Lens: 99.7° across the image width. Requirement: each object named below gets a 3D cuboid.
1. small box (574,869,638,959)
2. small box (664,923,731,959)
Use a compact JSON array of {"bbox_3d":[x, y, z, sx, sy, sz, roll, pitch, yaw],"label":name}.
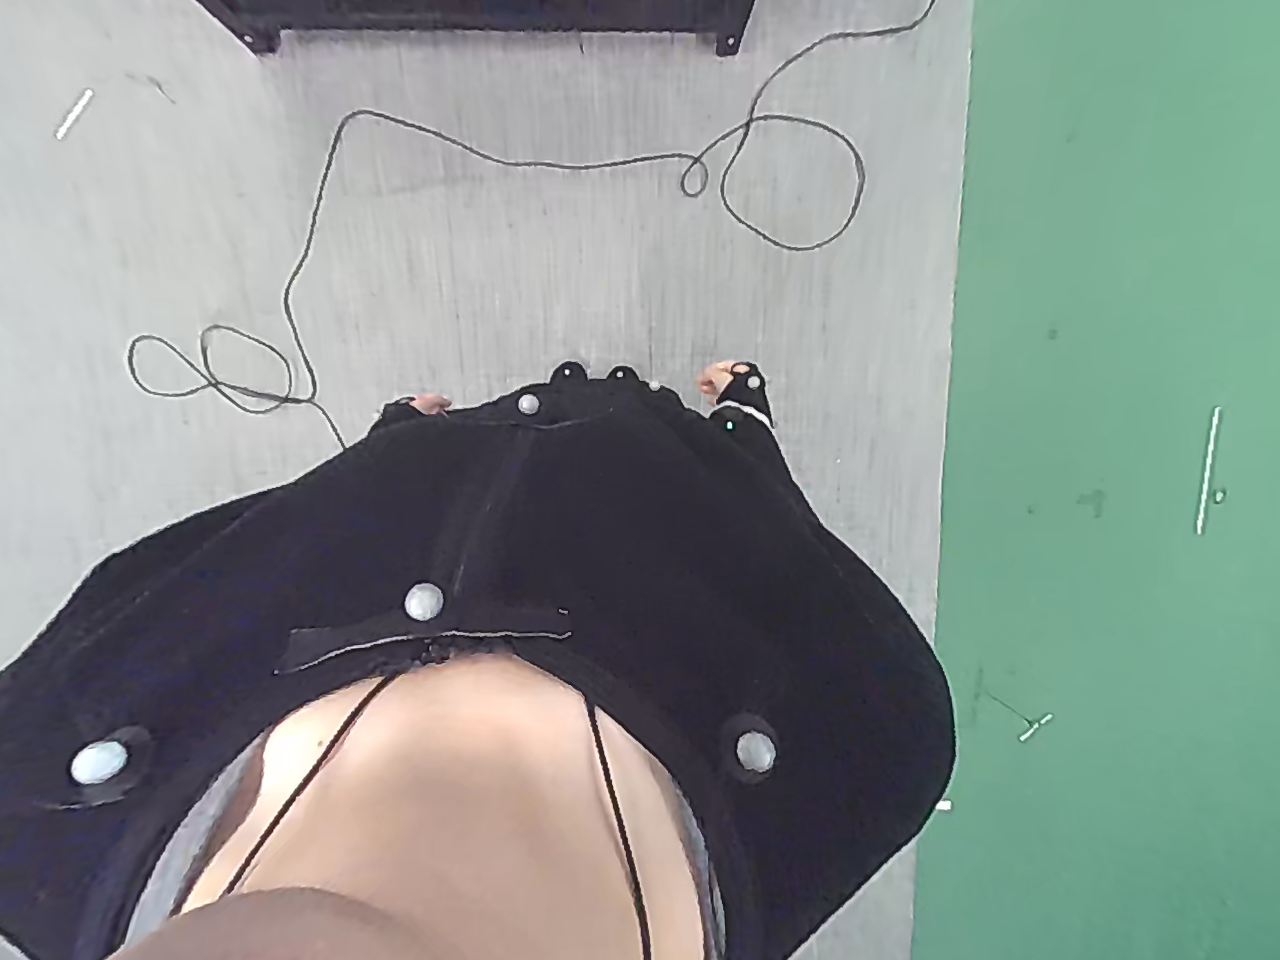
[{"bbox_3d":[-0.101,1.271,1.569,0.179,0.176,0.168,-2,98,-4],"label":"small box"},{"bbox_3d":[0.152,1.315,1.415,0.168,0.176,0.179,2,98,-2],"label":"small box"}]
